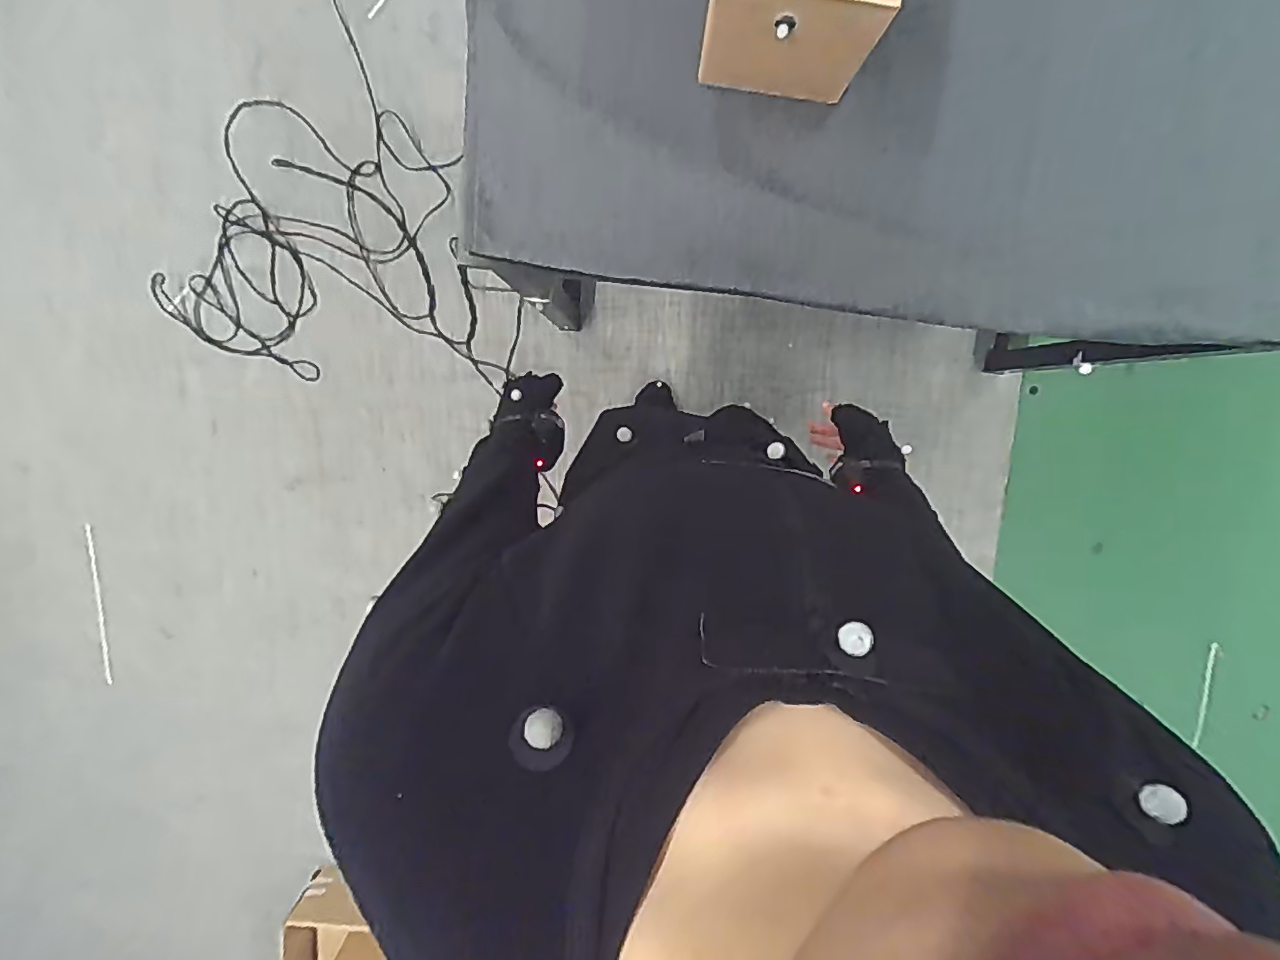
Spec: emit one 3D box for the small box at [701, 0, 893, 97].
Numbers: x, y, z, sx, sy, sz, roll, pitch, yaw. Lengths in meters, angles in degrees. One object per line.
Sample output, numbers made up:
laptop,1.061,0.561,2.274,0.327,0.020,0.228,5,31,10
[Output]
small box,0.167,-0.552,0.582,0.179,0.176,0.168,7,98,-2
